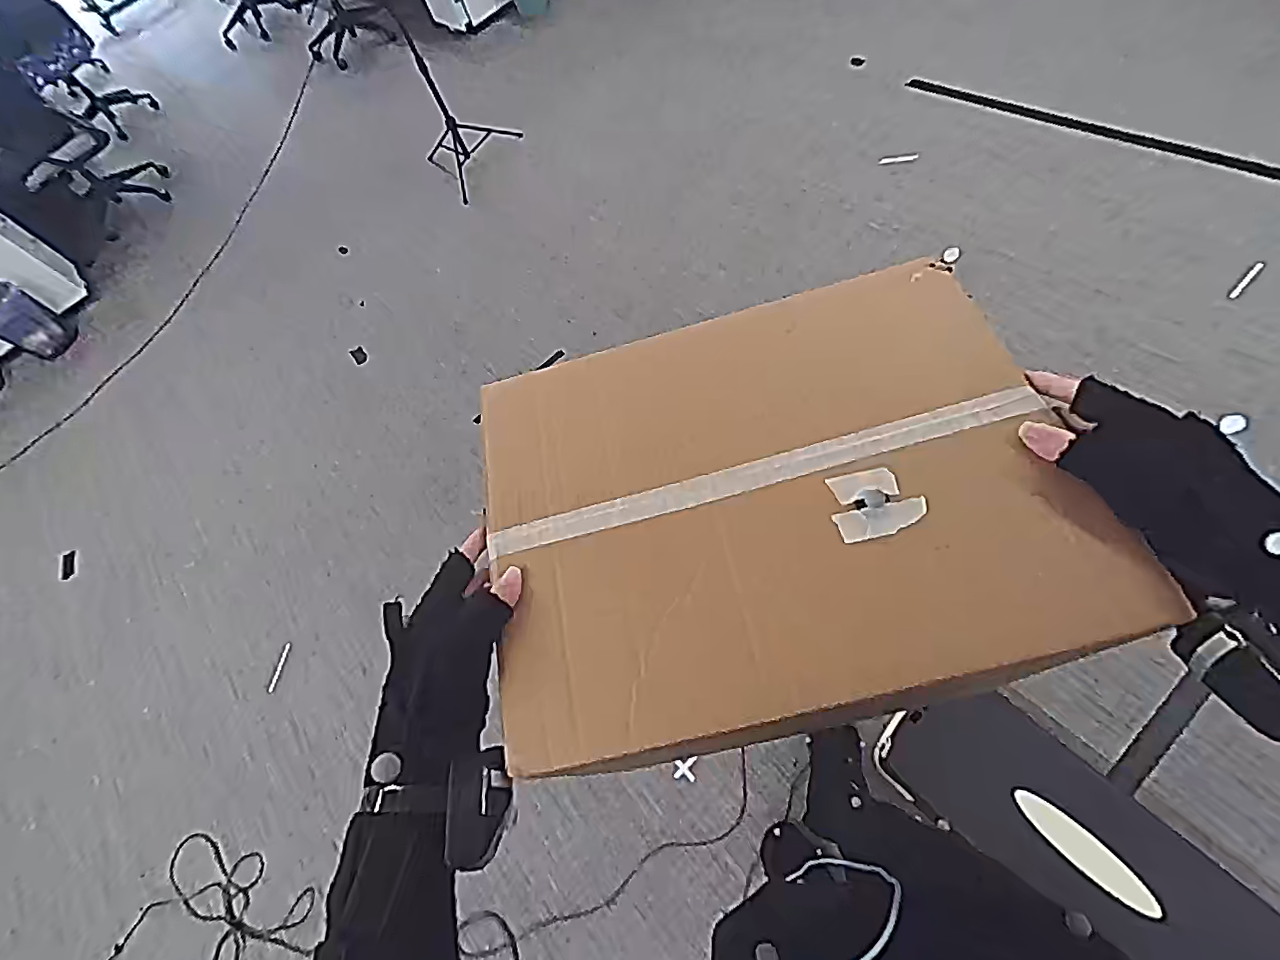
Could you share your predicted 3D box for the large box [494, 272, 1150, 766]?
[{"bbox_3d":[0.113,0.068,0.536,0.408,0.320,0.320,-15,61,3],"label":"large box"}]
